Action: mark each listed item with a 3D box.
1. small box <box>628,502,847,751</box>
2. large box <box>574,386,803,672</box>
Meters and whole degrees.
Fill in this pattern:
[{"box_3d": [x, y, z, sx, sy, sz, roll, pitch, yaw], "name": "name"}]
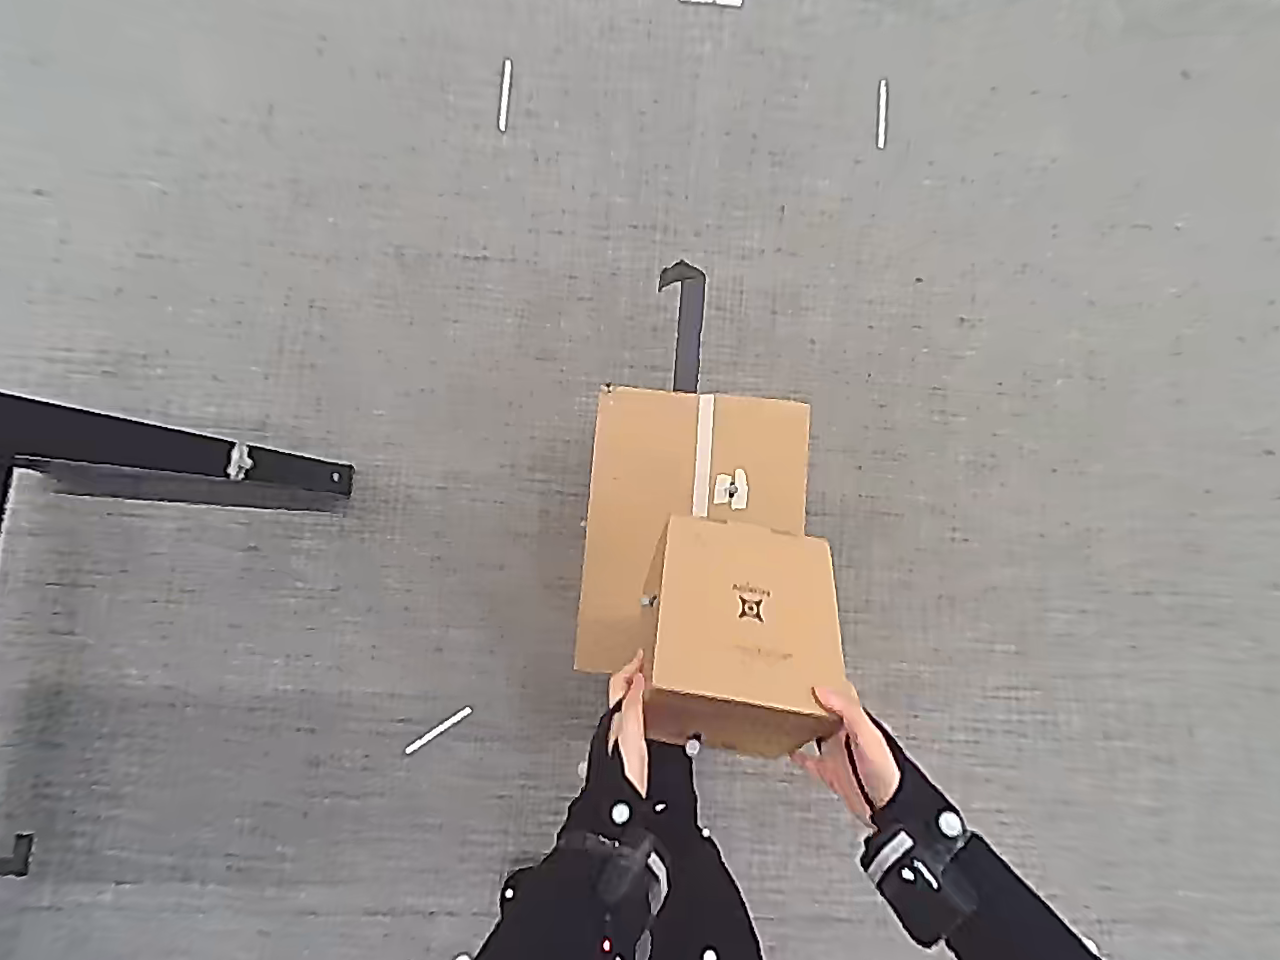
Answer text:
[{"box_3d": [0.086, 0.152, 0.547, 0.168, 0.176, 0.179, 11, 52, -2], "name": "small box"}, {"box_3d": [0.067, 0.087, 0.911, 0.320, 0.320, 0.408, 5, 84, -4], "name": "large box"}]
